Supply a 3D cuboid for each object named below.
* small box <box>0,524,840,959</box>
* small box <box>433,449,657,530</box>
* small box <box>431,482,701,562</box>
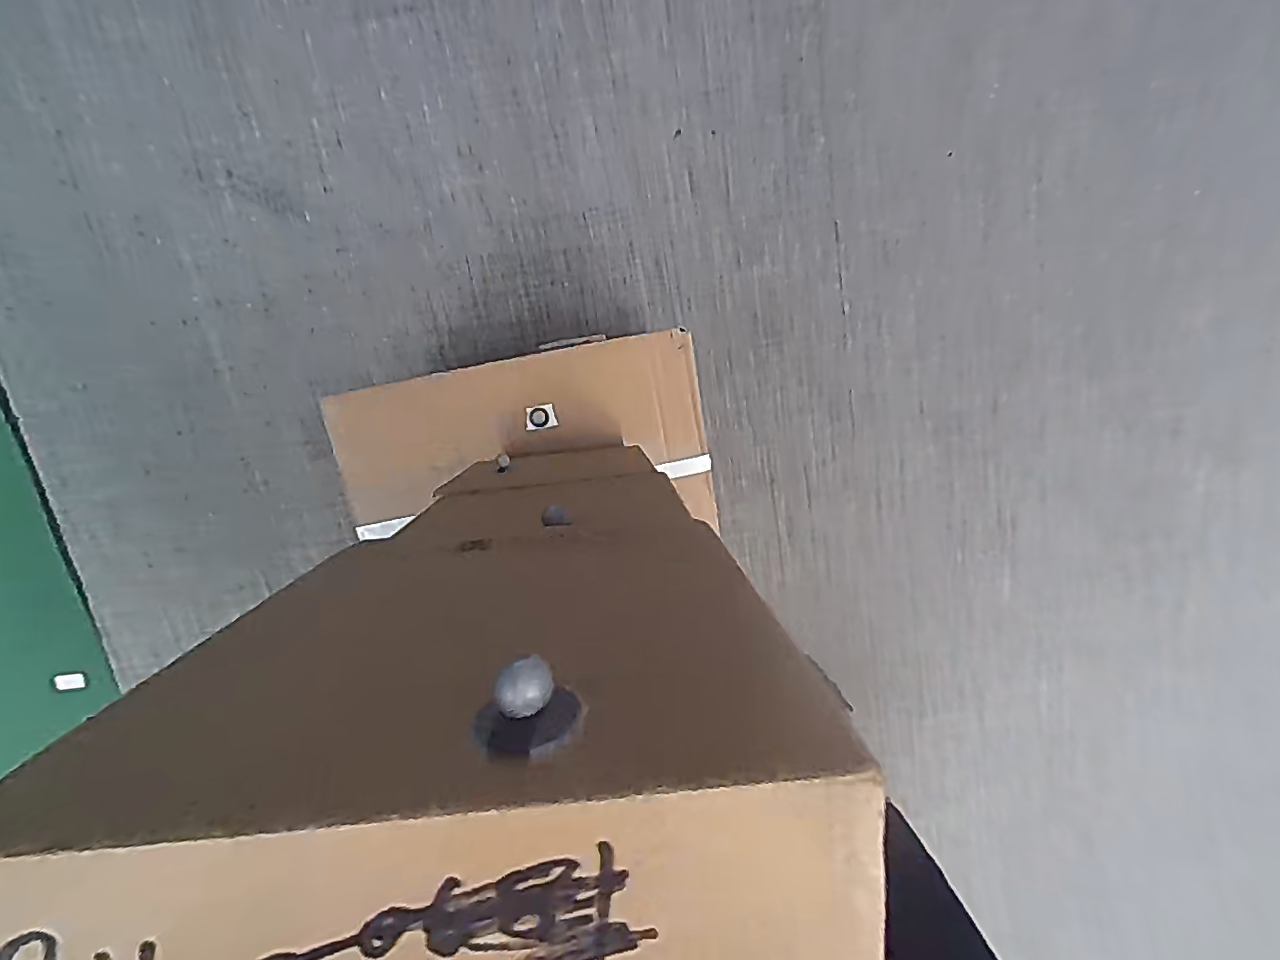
[{"bbox_3d":[-0.045,0.126,0.190,0.168,0.176,0.179,-3,102,-2],"label":"small box"},{"bbox_3d":[-0.073,0.069,0.511,0.179,0.176,0.168,-7,103,-4],"label":"small box"},{"bbox_3d":[-0.052,0.105,0.353,0.179,0.176,0.168,-10,101,-2],"label":"small box"}]
